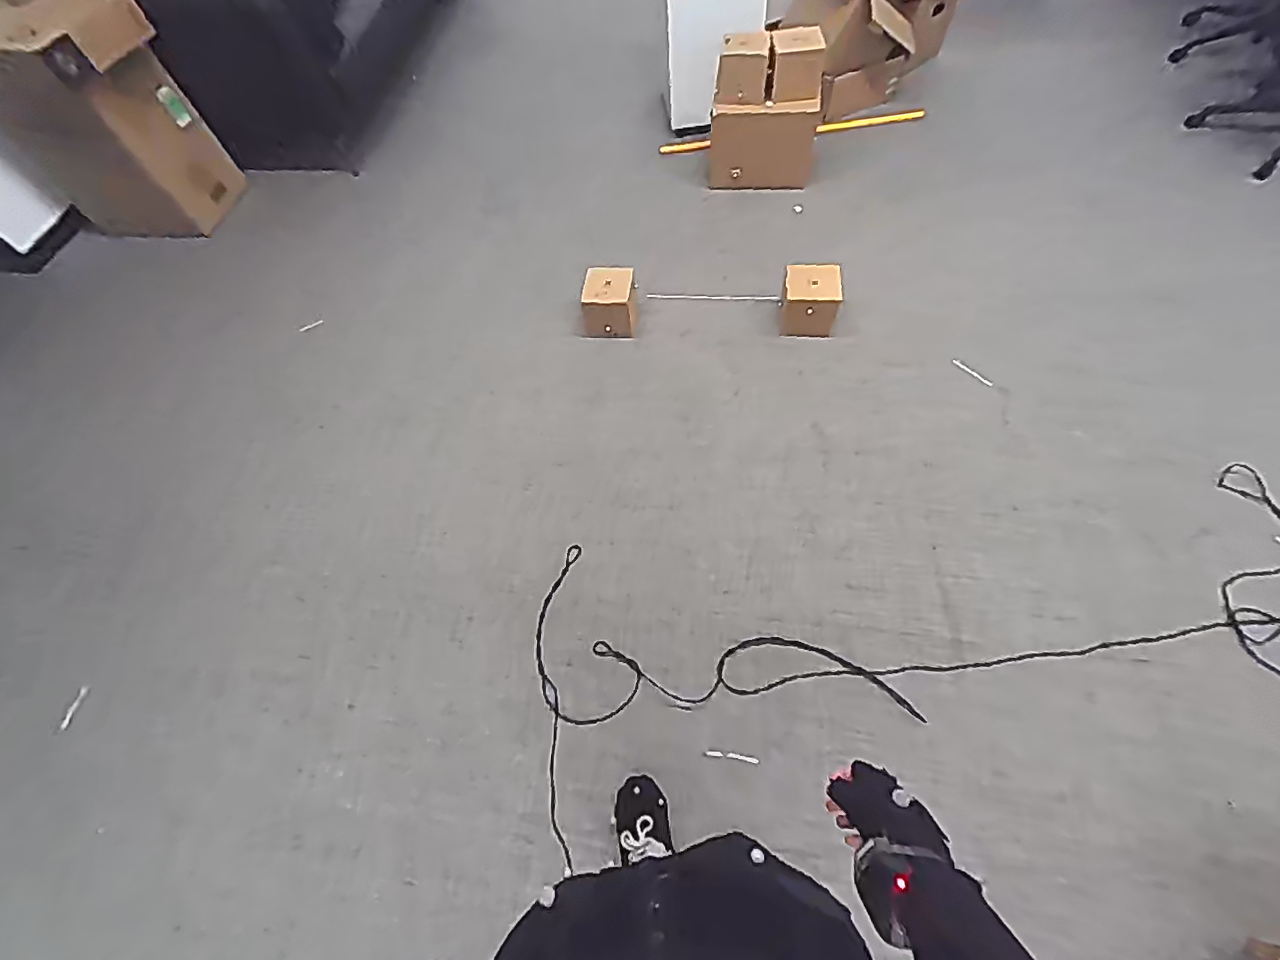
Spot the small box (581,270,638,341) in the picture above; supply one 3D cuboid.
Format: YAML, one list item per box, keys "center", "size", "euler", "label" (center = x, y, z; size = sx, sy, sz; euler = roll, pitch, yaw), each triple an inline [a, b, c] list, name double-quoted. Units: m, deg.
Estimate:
- center: [-0.101, -0.619, 1.917]
  size: [0.168, 0.176, 0.179]
  euler: [3, 61, 8]
  label: "small box"

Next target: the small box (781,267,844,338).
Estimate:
- center: [0.579, -0.599, 1.833]
  size: [0.179, 0.176, 0.168]
  euler: [3, 62, 8]
  label: "small box"
